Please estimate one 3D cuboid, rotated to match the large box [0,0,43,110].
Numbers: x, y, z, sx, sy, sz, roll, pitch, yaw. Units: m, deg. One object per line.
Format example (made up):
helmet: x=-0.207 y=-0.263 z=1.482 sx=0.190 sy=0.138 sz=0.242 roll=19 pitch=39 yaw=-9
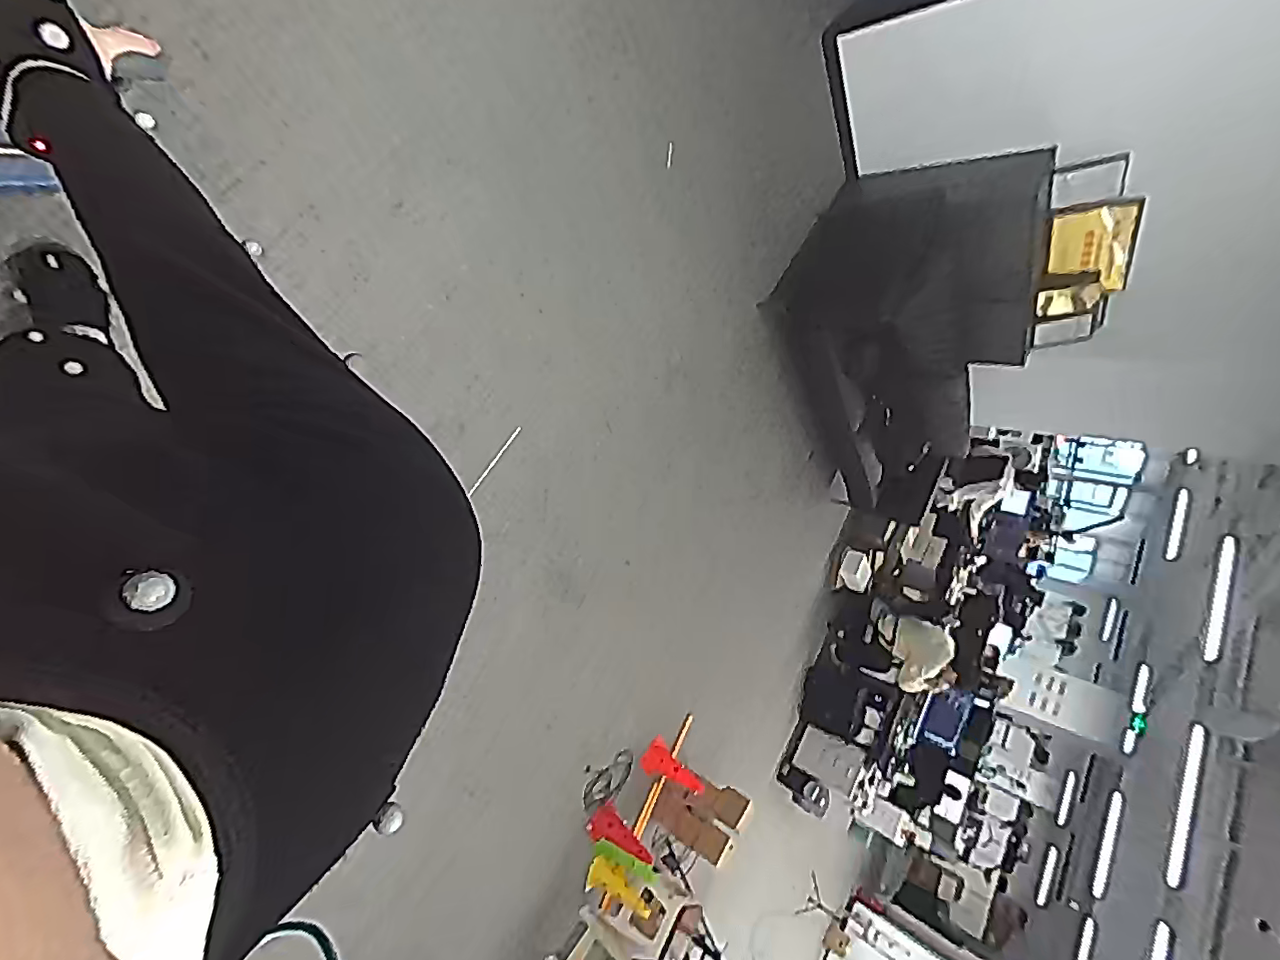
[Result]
large box: x=-1.026 y=-0.712 z=0.638 sx=0.320 sy=0.320 sz=0.408 roll=-29 pitch=123 yaw=-42
